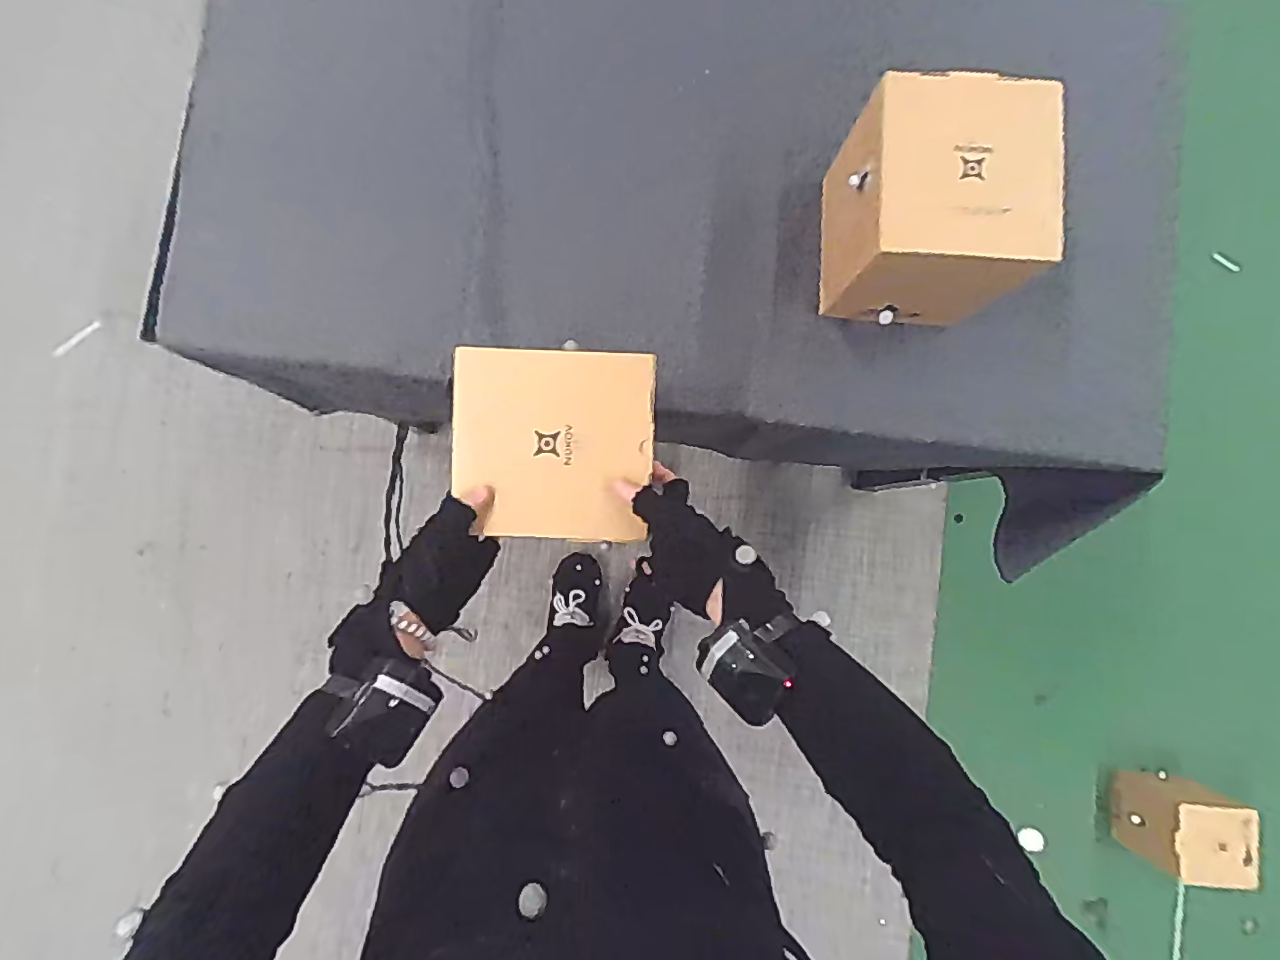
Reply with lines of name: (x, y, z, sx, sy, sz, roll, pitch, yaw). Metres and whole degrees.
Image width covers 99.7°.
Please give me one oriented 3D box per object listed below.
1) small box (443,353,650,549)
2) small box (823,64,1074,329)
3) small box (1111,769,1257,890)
small box: (-0.081, -0.026, 0.545, 0.179, 0.176, 0.168, 2, 92, -1)
small box: (0.300, -0.275, 0.559, 0.168, 0.176, 0.179, 4, 86, 0)
small box: (1.235, 0.789, 1.238, 0.179, 0.176, 0.168, 6, 86, 0)
